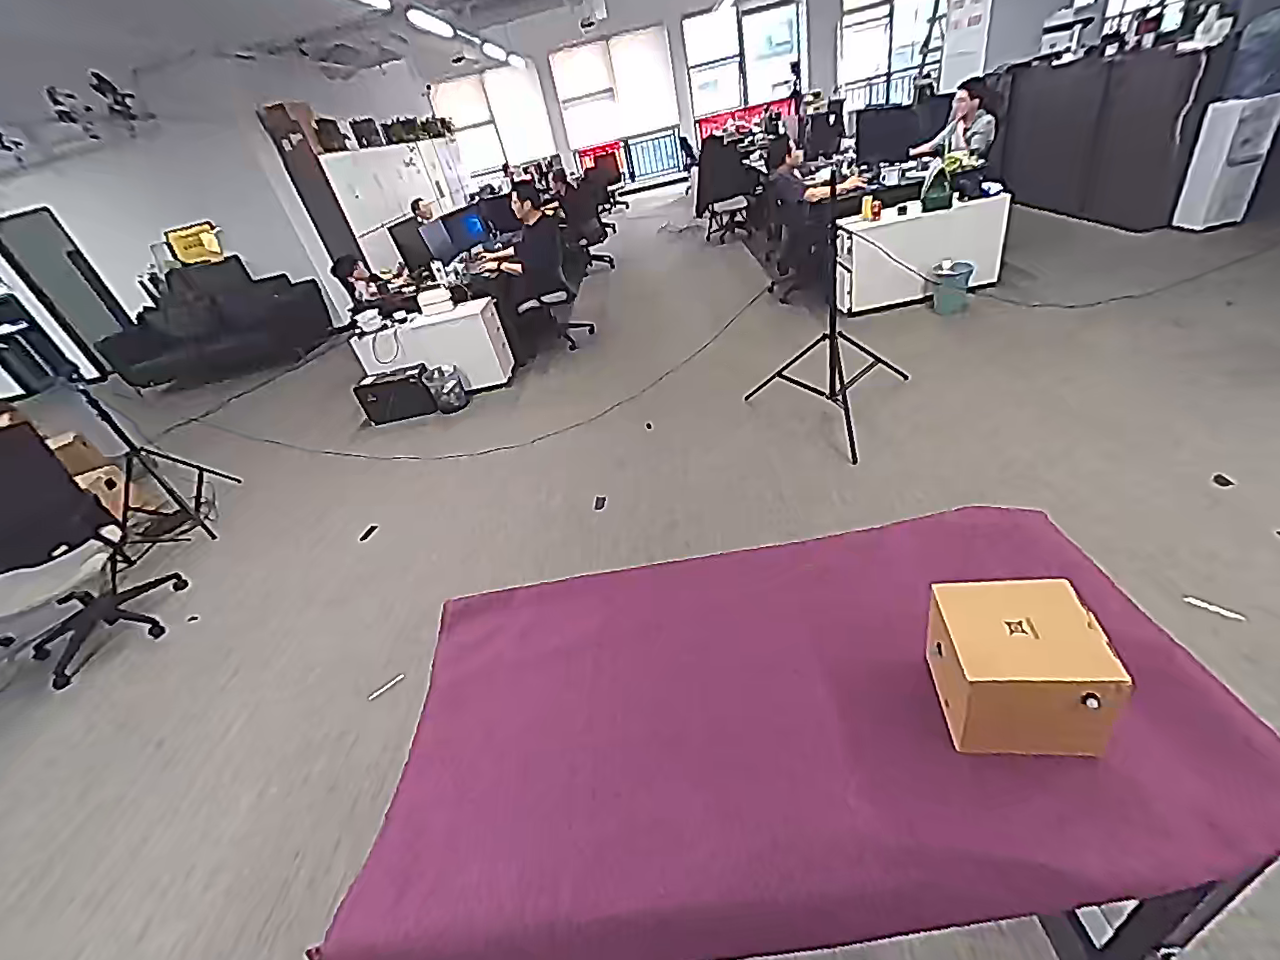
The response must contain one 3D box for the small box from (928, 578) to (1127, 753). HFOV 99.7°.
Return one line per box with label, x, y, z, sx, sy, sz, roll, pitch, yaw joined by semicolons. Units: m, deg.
small box;0.516;0.259;0.755;0.179;0.176;0.168;-6;34;14
